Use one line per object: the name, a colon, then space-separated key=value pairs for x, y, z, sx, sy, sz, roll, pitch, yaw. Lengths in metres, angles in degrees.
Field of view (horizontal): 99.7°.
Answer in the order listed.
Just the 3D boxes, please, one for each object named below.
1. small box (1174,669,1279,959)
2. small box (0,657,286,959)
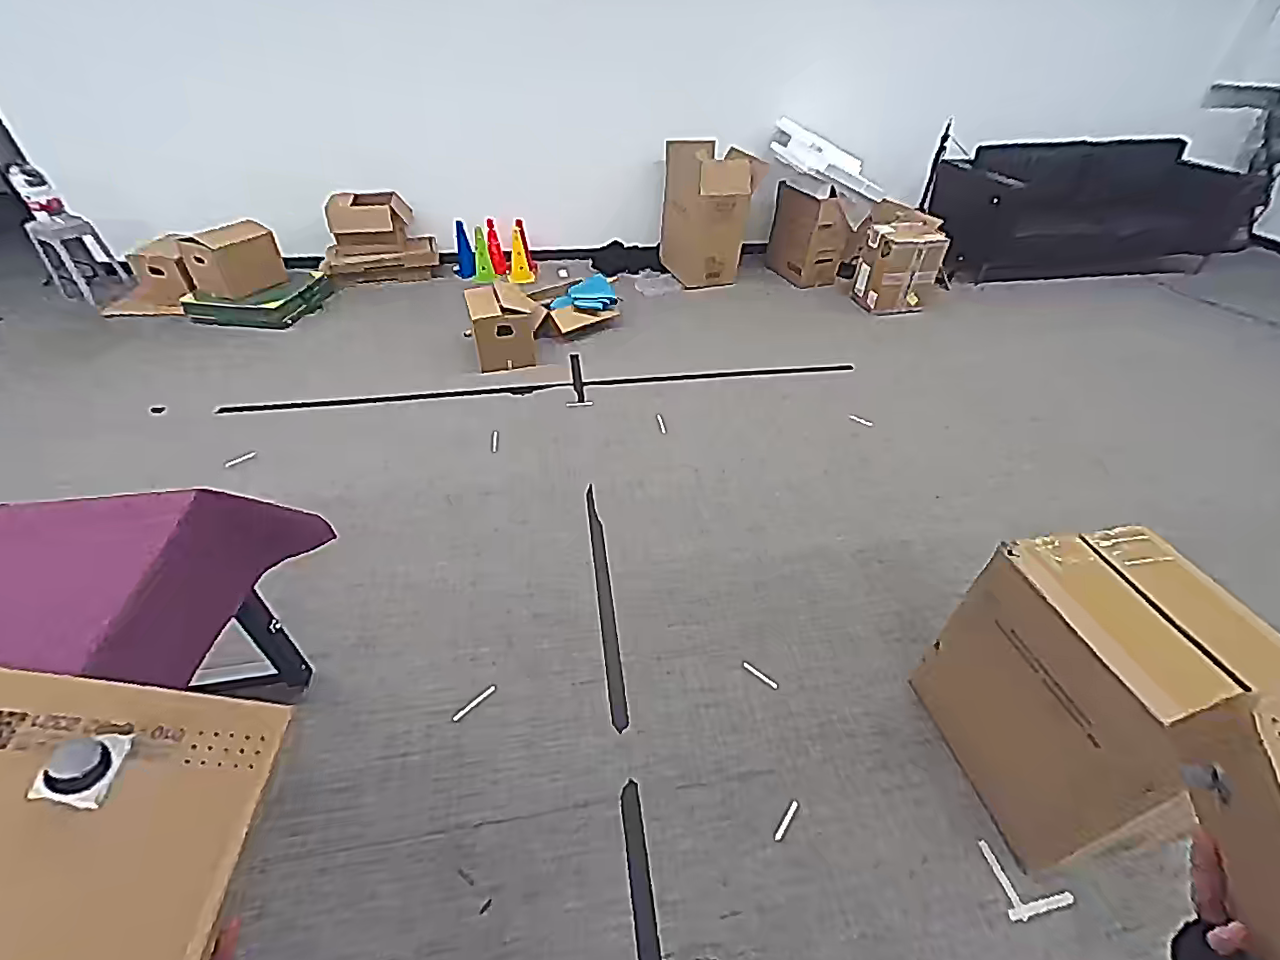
small box: x=0.413 y=0.195 z=0.268 sx=0.168 sy=0.179 sz=0.176 roll=-13 pitch=58 yaw=29
small box: x=-0.287 y=0.201 z=0.249 sx=0.168 sy=0.179 sz=0.176 roll=16 pitch=40 yaw=-23
